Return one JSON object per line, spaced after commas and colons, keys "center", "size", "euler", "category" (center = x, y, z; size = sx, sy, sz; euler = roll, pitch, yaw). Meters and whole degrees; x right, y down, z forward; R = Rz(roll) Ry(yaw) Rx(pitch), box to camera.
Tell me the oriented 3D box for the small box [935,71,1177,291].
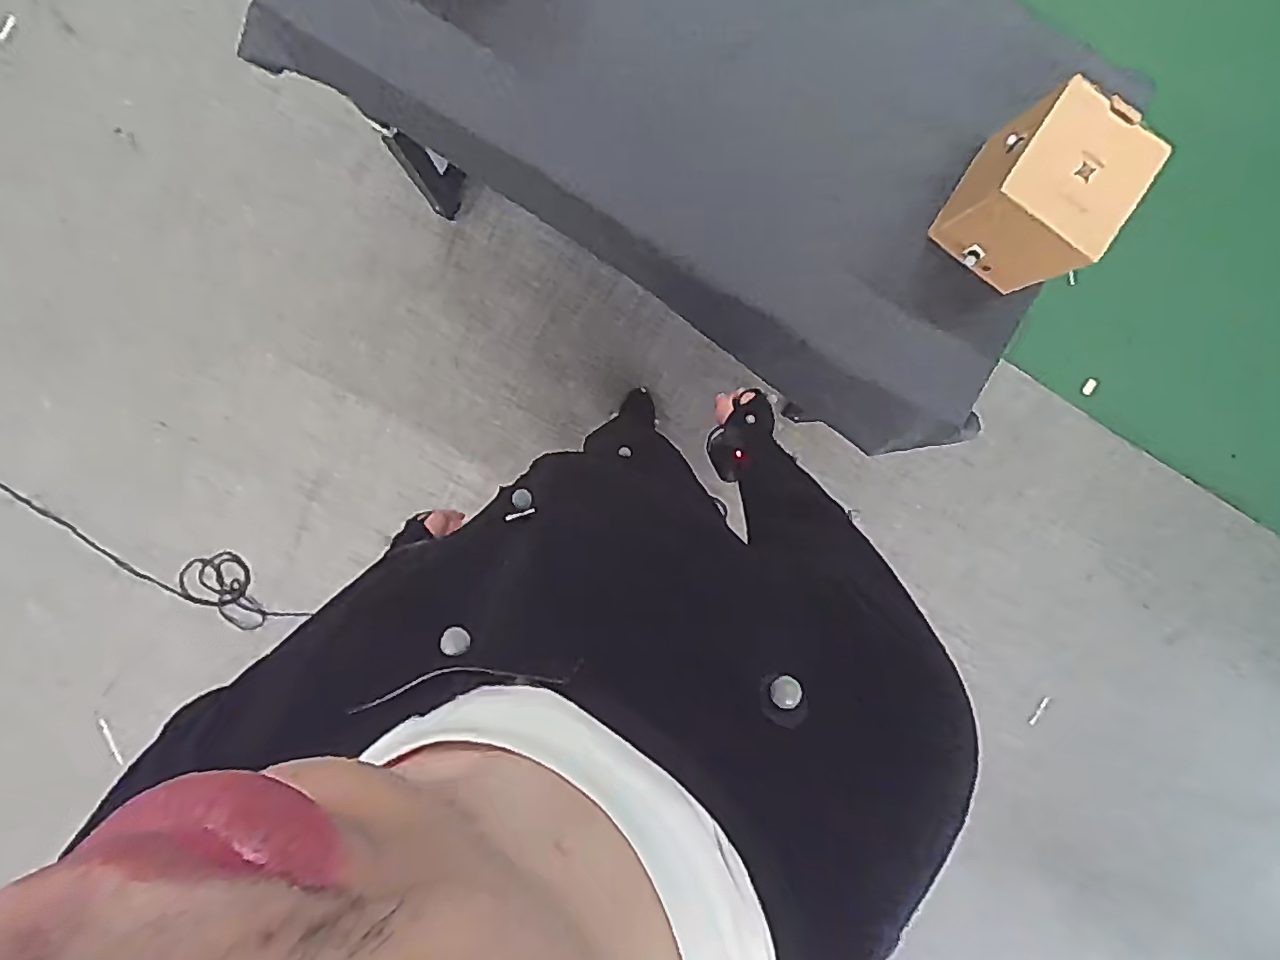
{"center": [0.563, -0.400, 0.759], "size": [0.168, 0.176, 0.179], "euler": [35, 92, -5], "category": "small box"}
